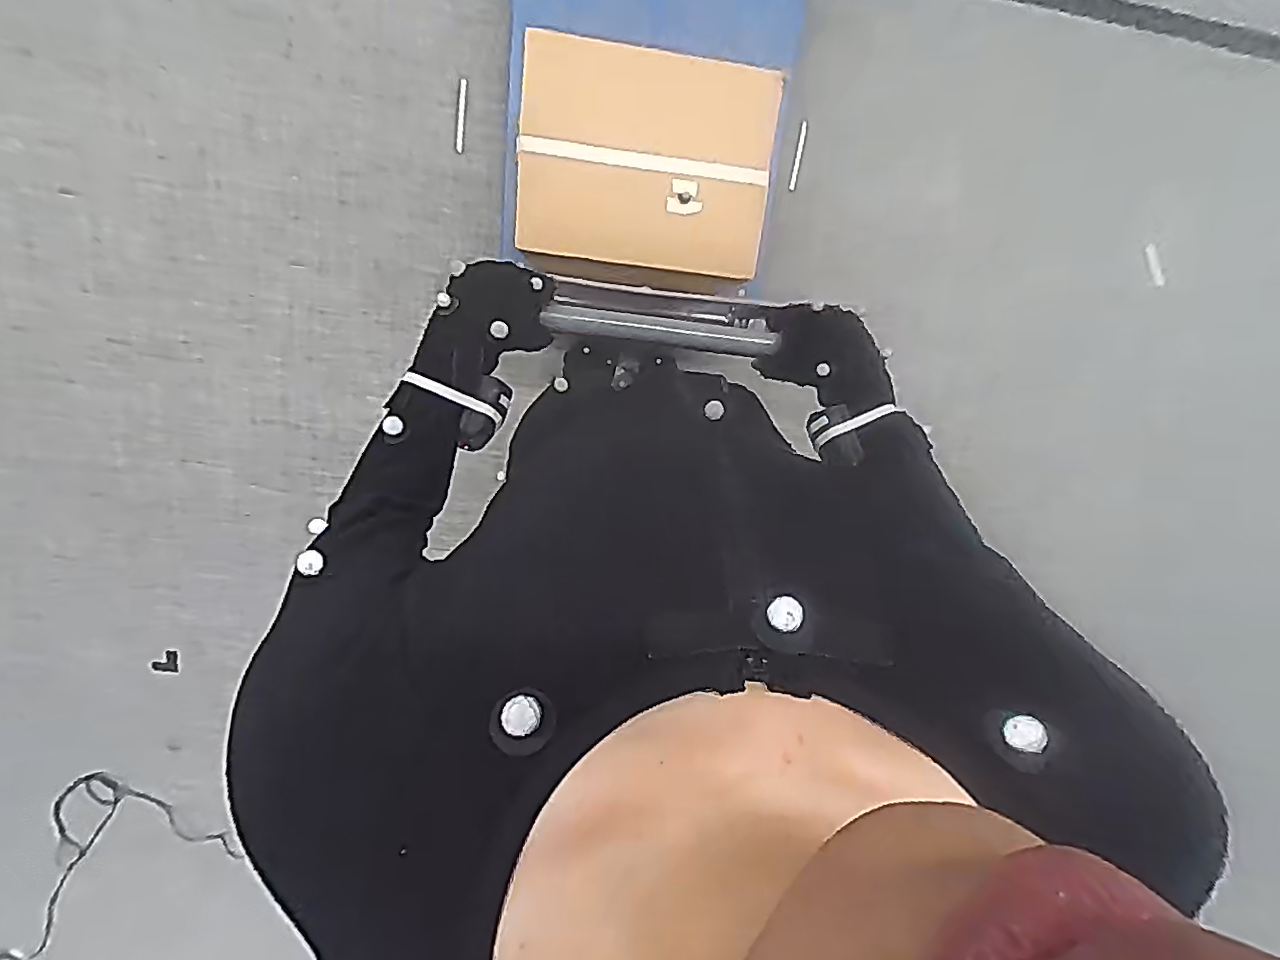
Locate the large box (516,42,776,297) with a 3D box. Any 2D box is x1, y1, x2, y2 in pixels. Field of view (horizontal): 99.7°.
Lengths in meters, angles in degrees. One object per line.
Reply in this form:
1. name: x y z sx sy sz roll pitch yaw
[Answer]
1. large box: -0.009 -0.533 1.009 0.408 0.320 0.320 5 104 -7
